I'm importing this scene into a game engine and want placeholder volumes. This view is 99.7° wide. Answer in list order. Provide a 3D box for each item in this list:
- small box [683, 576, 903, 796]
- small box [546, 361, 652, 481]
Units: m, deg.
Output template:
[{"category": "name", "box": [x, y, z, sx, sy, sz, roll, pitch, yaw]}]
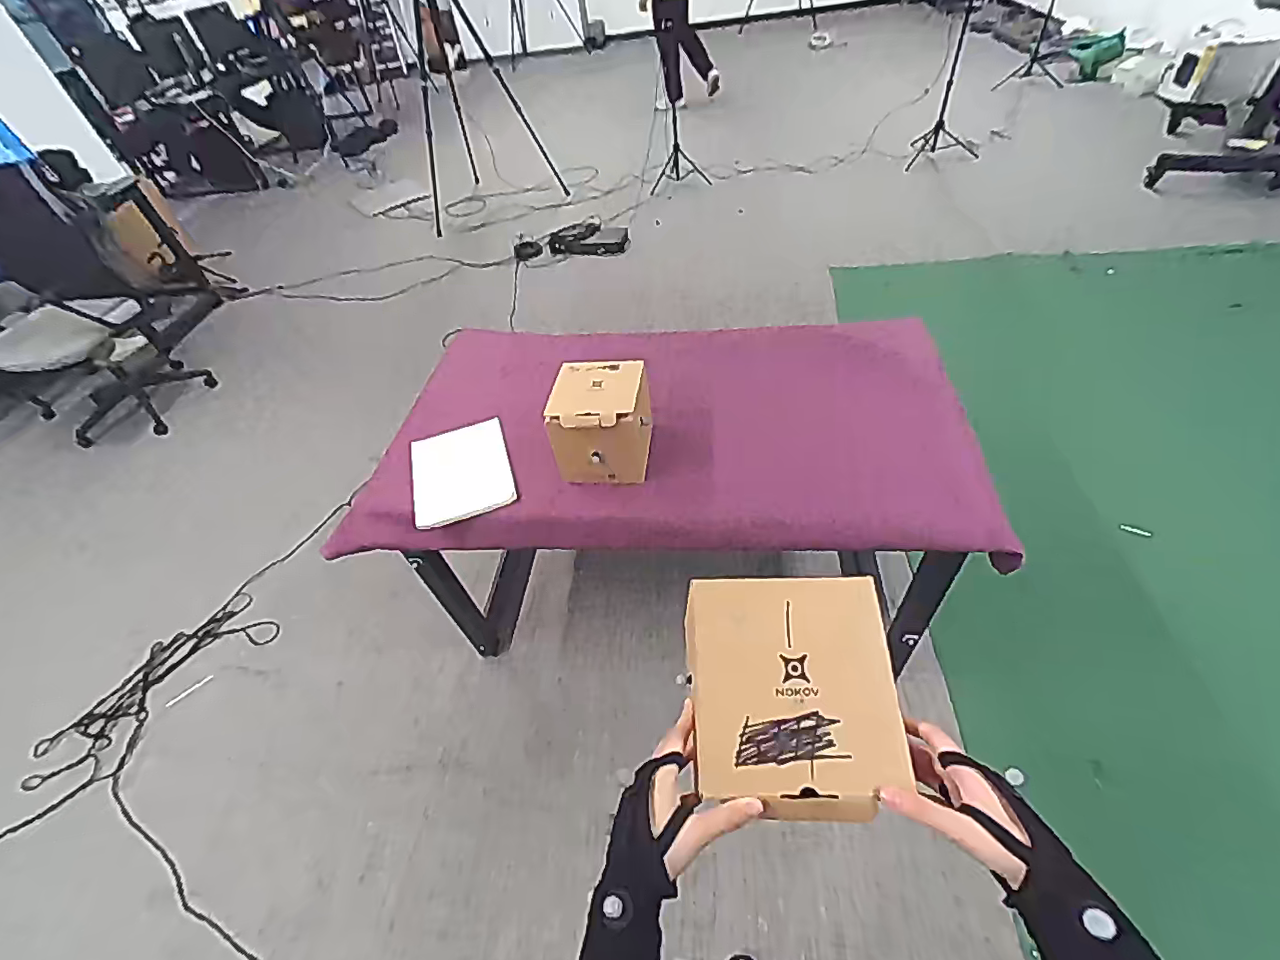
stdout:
[{"category": "small box", "box": [0.128, 0.202, 0.529, 0.168, 0.176, 0.179, -1, 63, 2]}, {"category": "small box", "box": [-0.070, -0.113, 1.068, 0.168, 0.176, 0.179, 1, 49, 9]}]
